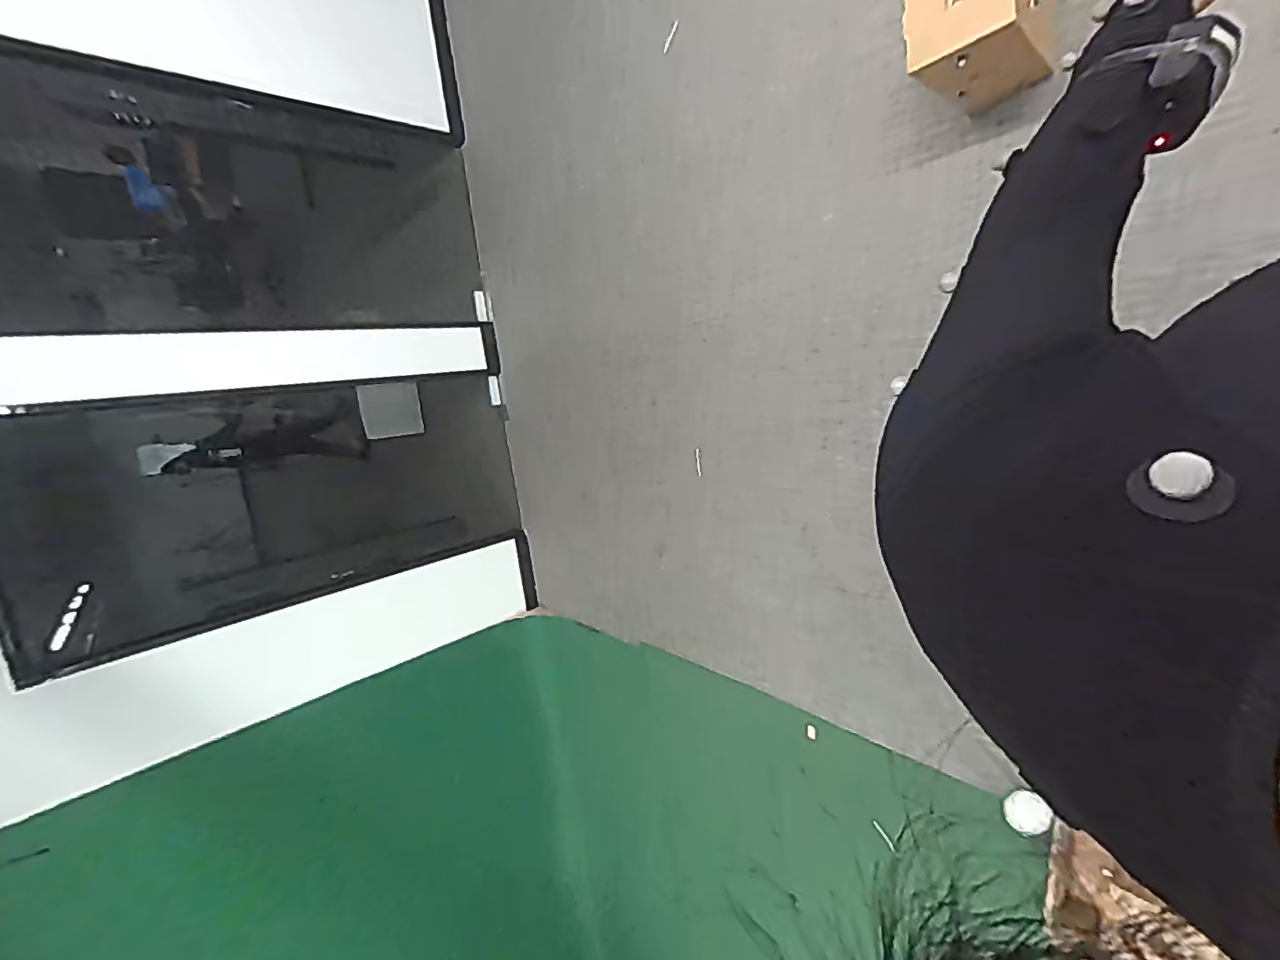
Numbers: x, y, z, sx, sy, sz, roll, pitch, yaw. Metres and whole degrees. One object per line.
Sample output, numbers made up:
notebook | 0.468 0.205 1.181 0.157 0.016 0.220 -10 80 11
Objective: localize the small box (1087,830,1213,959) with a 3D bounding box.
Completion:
small box | 1.083 0.905 1.148 0.168 0.176 0.179 13 110 46

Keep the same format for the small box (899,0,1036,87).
small box | 0.599 -0.863 0.990 0.179 0.176 0.168 2 104 48
